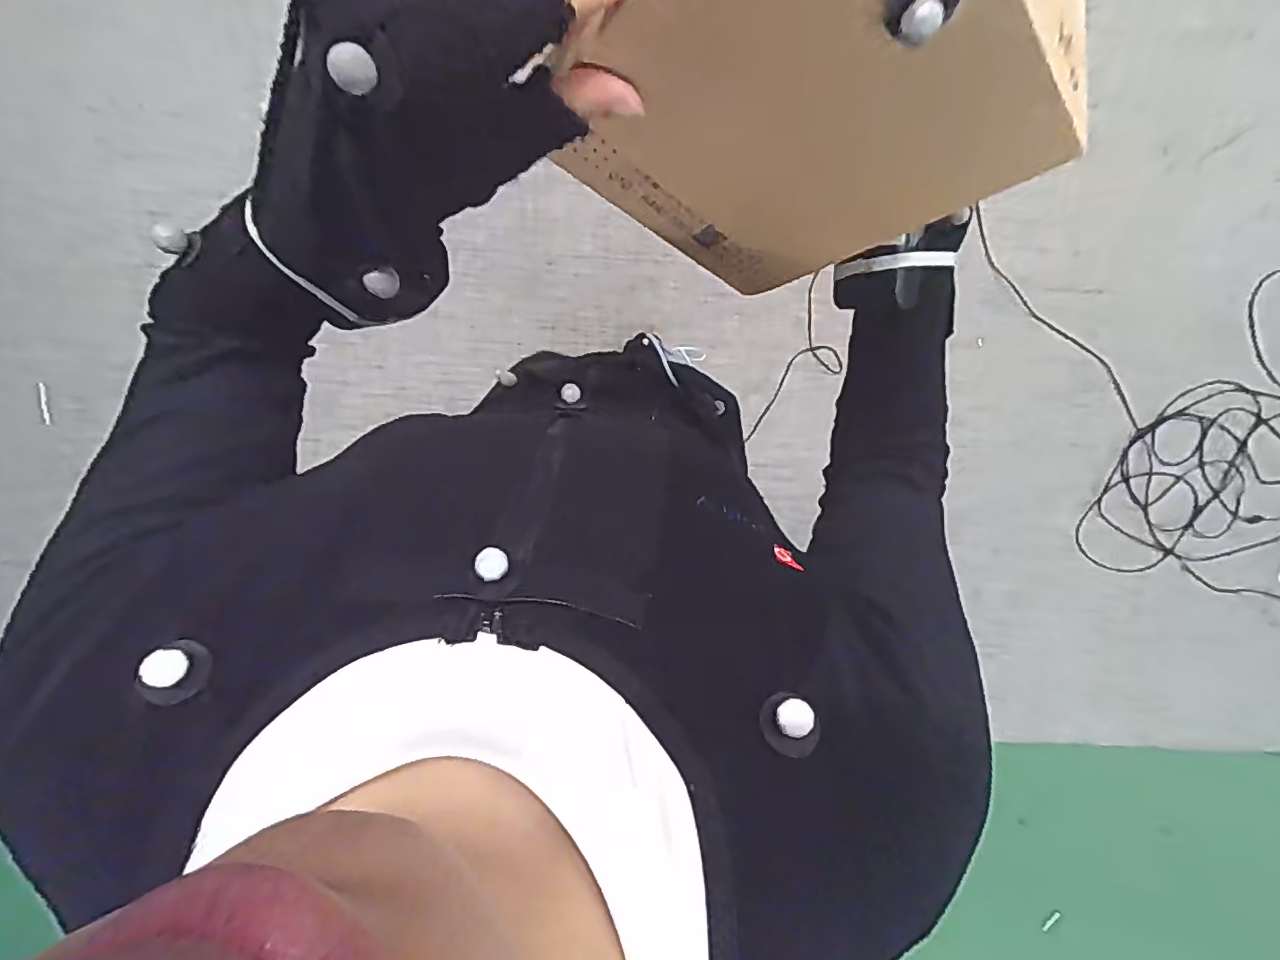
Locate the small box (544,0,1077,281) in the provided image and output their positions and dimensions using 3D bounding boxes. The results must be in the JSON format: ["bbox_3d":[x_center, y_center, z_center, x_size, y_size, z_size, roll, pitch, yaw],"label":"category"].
[{"bbox_3d":[0.073,-0.232,0.252,0.168,0.176,0.179,18,72,-37],"label":"small box"}]
